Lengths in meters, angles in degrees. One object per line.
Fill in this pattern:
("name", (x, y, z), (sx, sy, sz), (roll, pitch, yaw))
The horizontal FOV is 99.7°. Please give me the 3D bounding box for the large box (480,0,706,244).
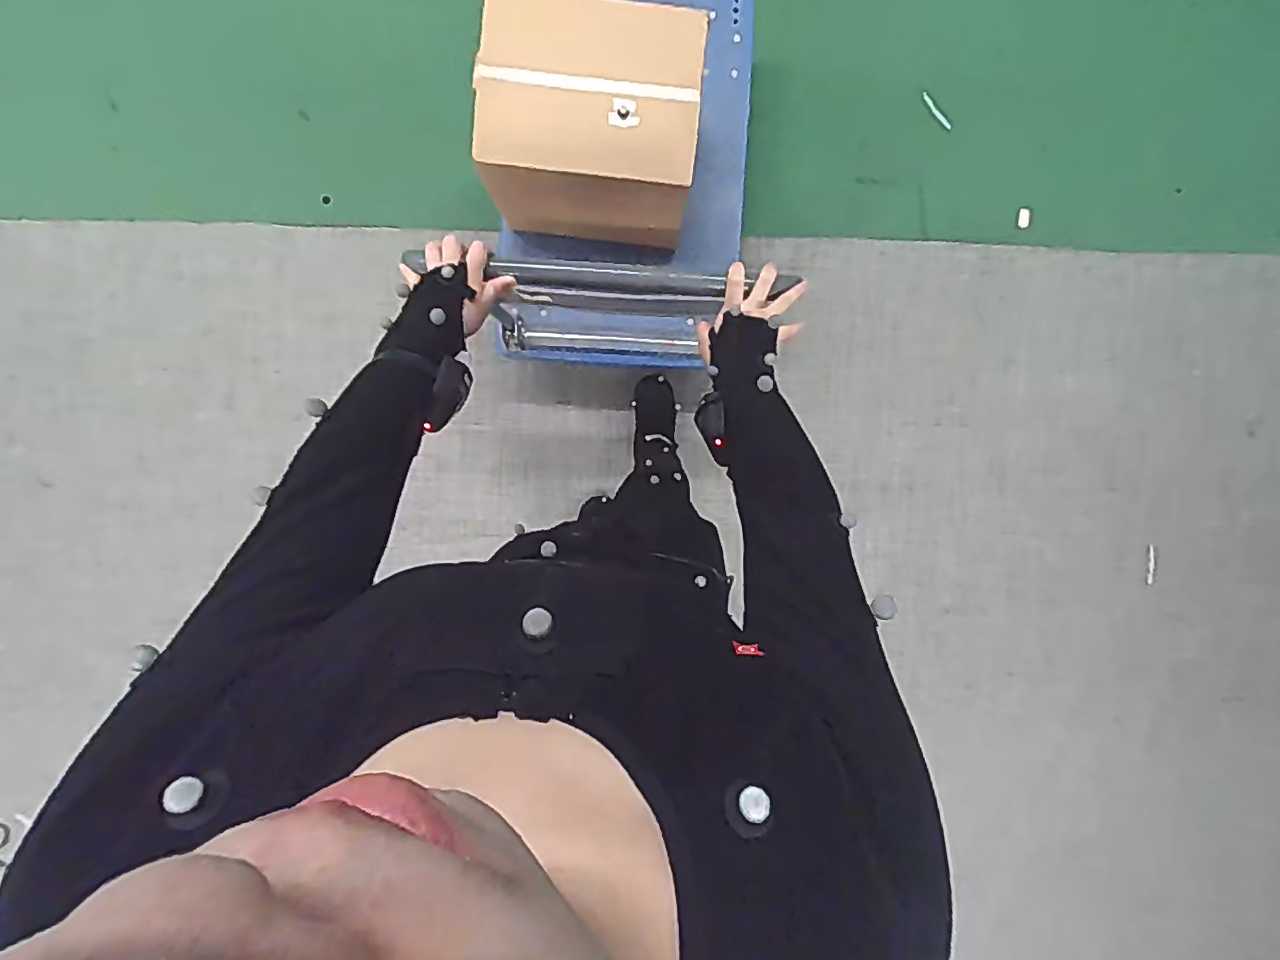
("large box", (-0.094, -0.729, 1.143), (0.408, 0.320, 0.320), (6, 93, -3))
